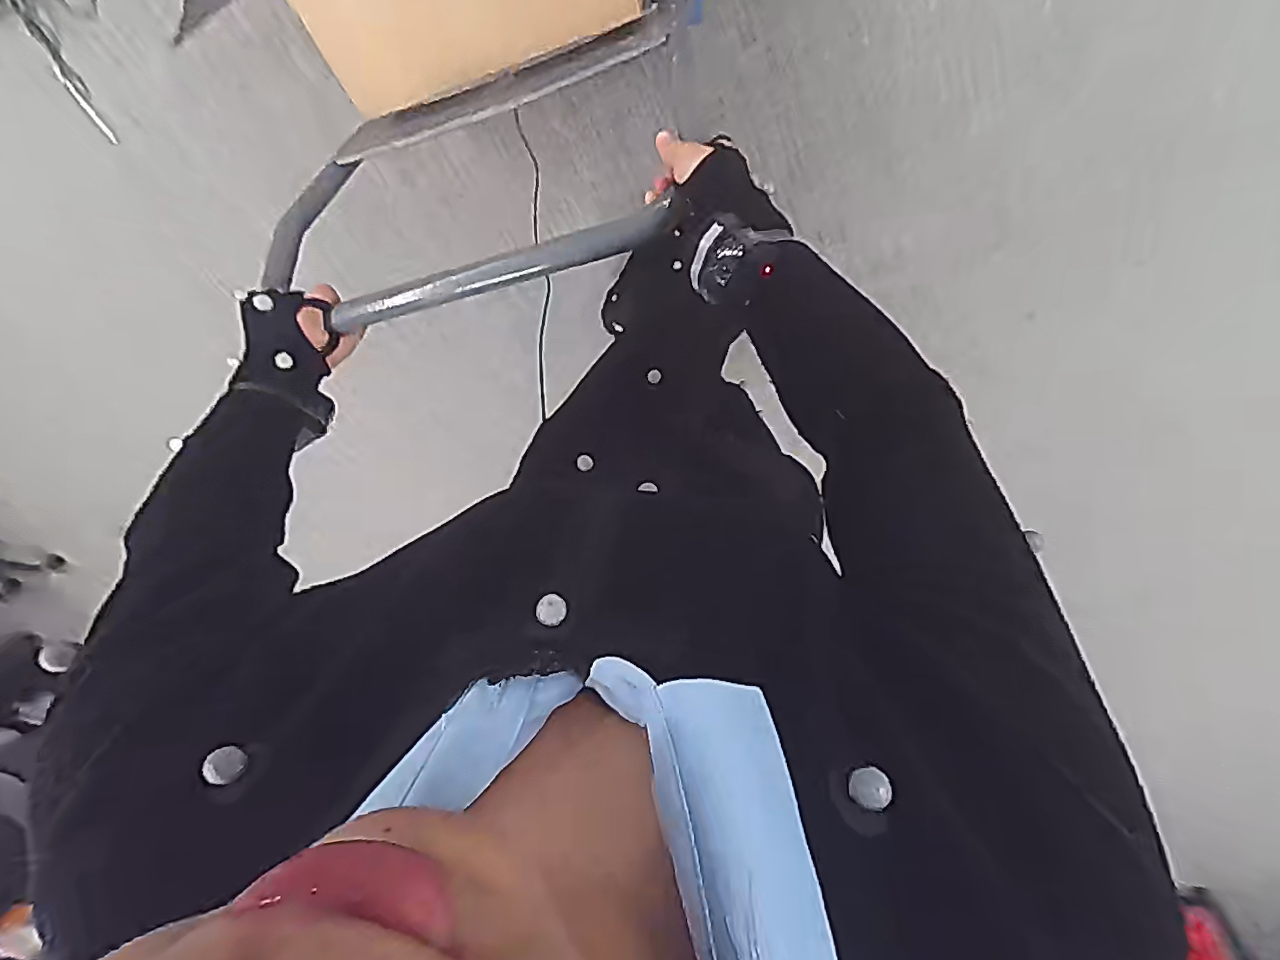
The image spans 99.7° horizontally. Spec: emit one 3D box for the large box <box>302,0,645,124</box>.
[{"bbox_3d":[-0.225,-0.740,0.702,0.408,0.320,0.320,-11,137,13],"label":"large box"}]
